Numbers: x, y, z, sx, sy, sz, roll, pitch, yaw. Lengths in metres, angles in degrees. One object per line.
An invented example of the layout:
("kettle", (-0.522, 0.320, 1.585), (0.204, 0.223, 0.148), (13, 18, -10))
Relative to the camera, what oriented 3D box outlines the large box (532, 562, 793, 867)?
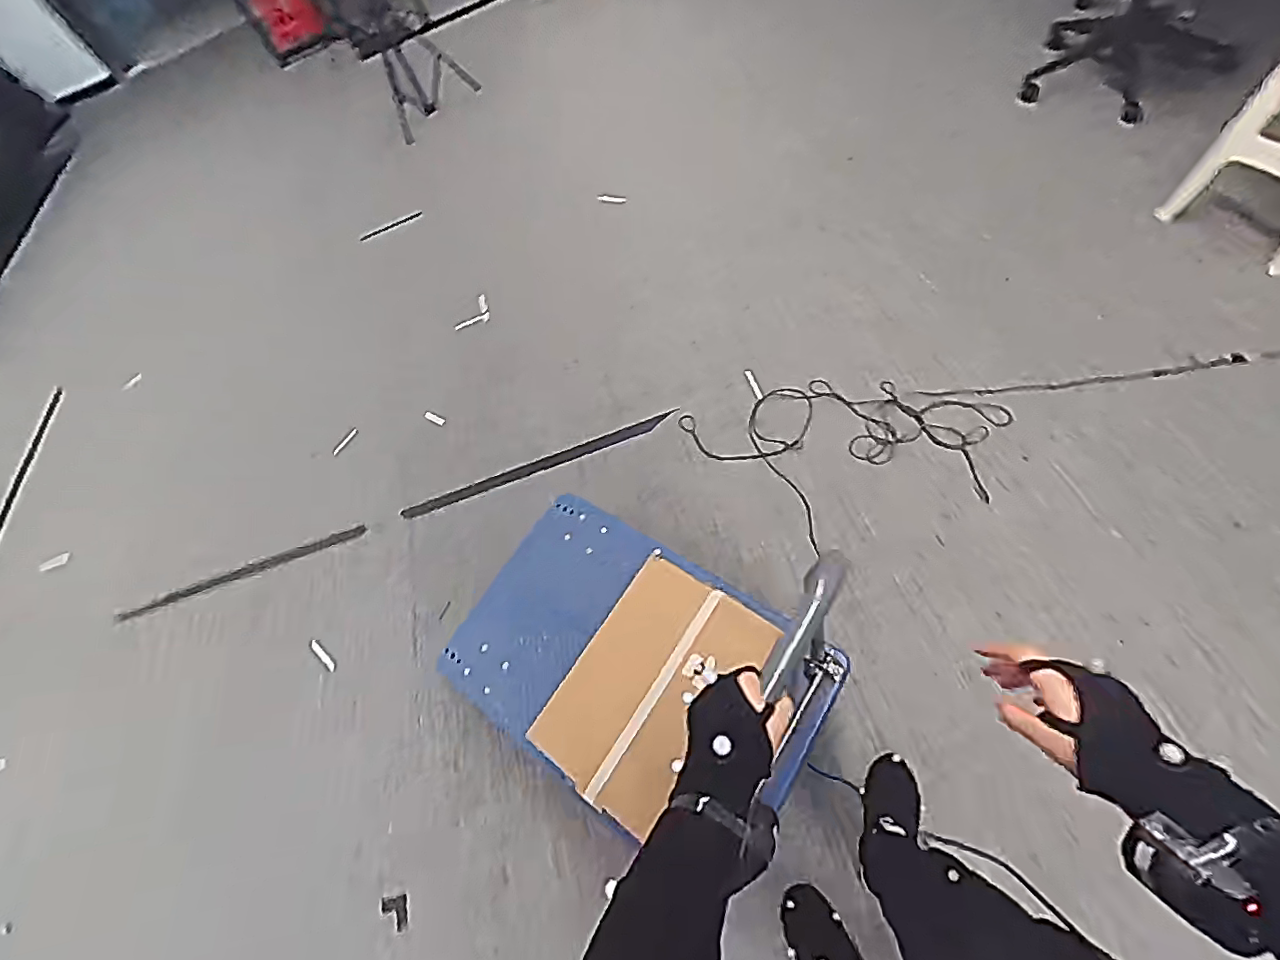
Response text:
("large box", (0.070, 0.448, 1.064), (0.320, 0.320, 0.408), (28, 71, 27))
